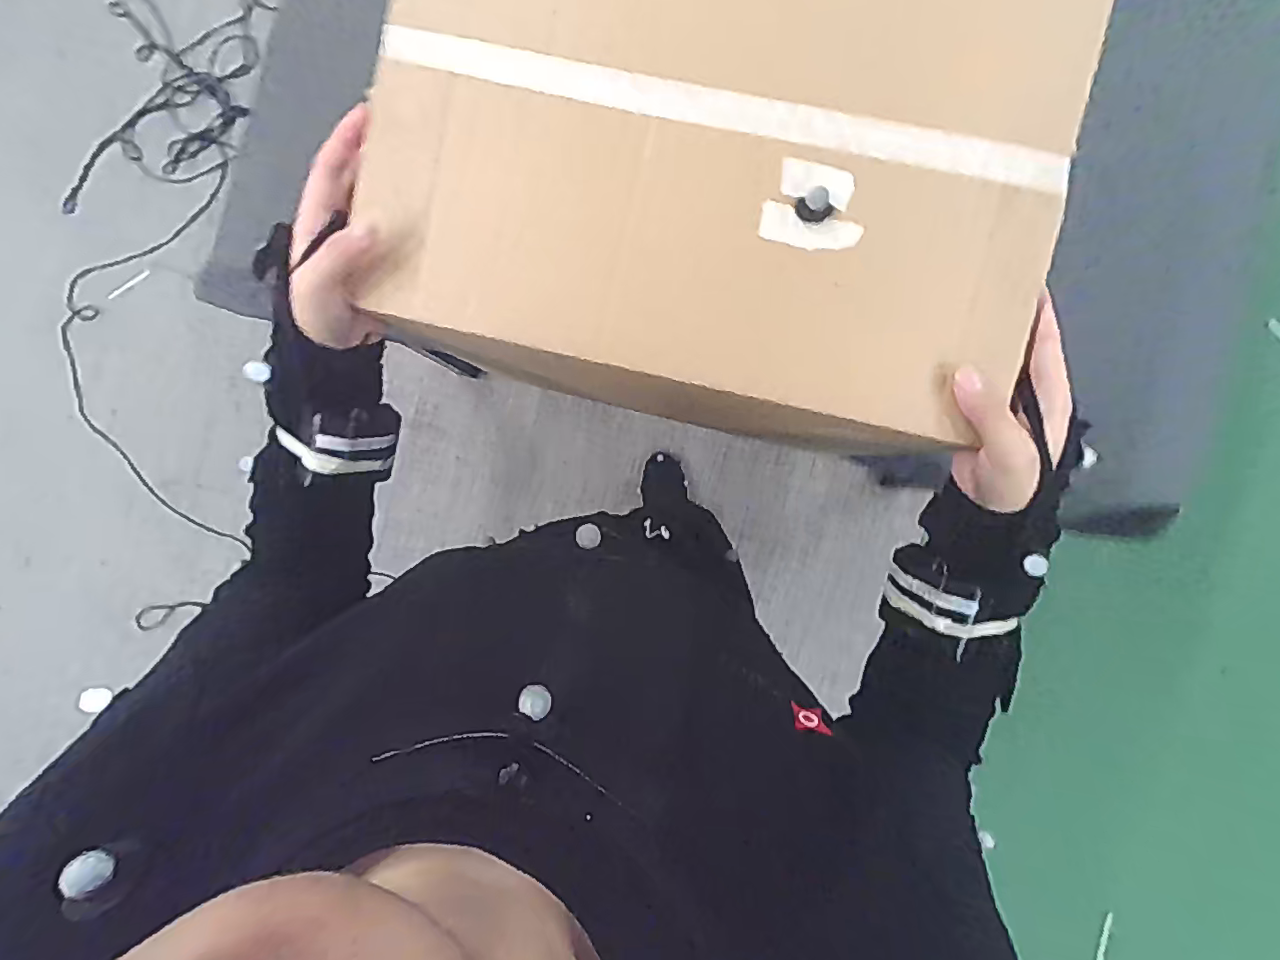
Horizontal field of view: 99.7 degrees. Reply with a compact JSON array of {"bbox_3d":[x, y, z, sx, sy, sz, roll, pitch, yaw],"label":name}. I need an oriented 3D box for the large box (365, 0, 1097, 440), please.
[{"bbox_3d":[0.054,-0.227,0.473,0.408,0.320,0.320,13,94,1],"label":"large box"}]
